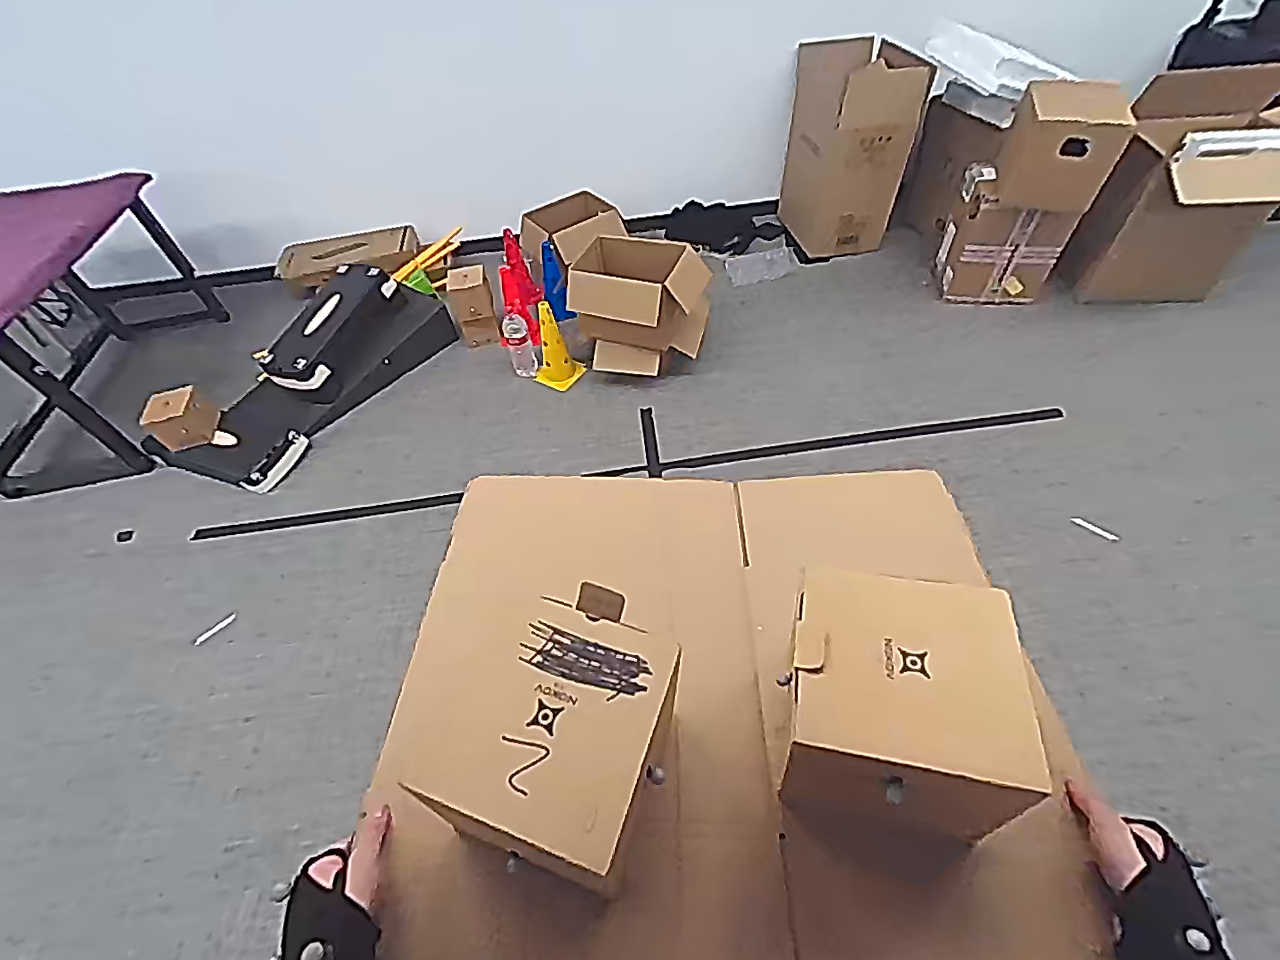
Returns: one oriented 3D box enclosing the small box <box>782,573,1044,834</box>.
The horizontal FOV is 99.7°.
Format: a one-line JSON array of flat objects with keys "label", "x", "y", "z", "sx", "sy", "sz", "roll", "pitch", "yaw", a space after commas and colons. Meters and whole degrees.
[{"label": "small box", "x": 0.234, "y": 0.212, "z": 0.512, "sx": 0.179, "sy": 0.176, "sz": 0.168, "roll": 5, "pitch": 48, "yaw": 16}]
